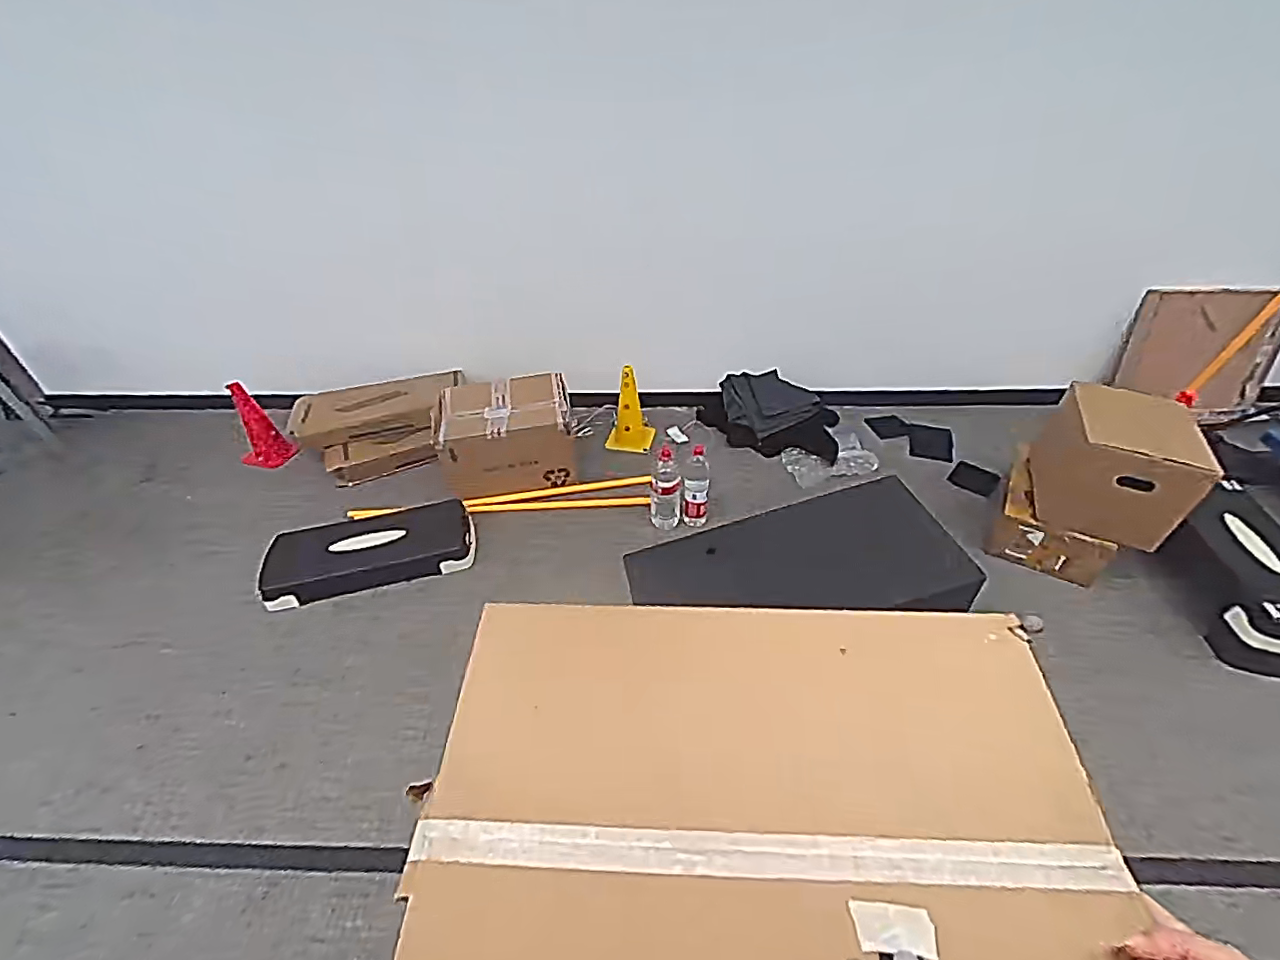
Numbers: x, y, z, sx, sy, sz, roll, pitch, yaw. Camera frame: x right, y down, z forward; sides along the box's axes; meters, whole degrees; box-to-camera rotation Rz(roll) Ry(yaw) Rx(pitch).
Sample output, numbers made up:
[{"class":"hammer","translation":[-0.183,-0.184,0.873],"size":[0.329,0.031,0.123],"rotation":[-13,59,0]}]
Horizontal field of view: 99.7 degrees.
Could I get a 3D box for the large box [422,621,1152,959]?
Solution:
[{"class":"large box","translation":[0.081,0.326,0.436],"size":[0.408,0.320,0.320],"rotation":[1,50,3]}]
